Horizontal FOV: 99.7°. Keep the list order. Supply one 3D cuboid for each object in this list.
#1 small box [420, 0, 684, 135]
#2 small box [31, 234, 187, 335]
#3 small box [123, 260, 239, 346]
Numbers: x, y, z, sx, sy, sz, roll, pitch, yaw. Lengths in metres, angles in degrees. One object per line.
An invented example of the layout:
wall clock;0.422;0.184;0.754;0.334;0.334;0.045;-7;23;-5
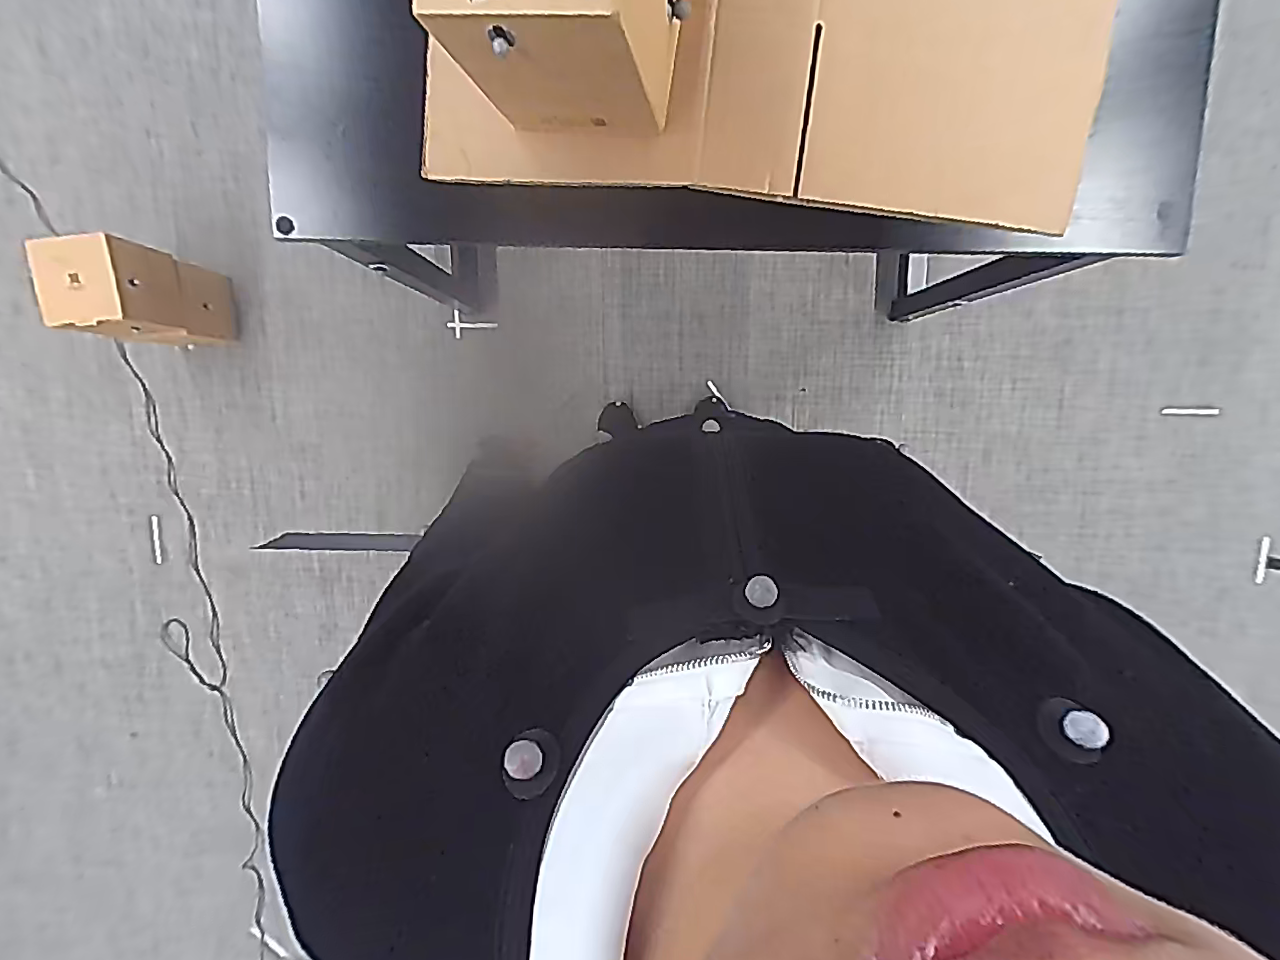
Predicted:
small box;-0.059;-0.434;0.461;0.168;0.176;0.179;11;98;12
small box;-1.156;-0.420;1.194;0.168;0.176;0.179;-7;97;0
small box;-1.154;-0.437;1.355;0.168;0.176;0.179;-3;99;0
